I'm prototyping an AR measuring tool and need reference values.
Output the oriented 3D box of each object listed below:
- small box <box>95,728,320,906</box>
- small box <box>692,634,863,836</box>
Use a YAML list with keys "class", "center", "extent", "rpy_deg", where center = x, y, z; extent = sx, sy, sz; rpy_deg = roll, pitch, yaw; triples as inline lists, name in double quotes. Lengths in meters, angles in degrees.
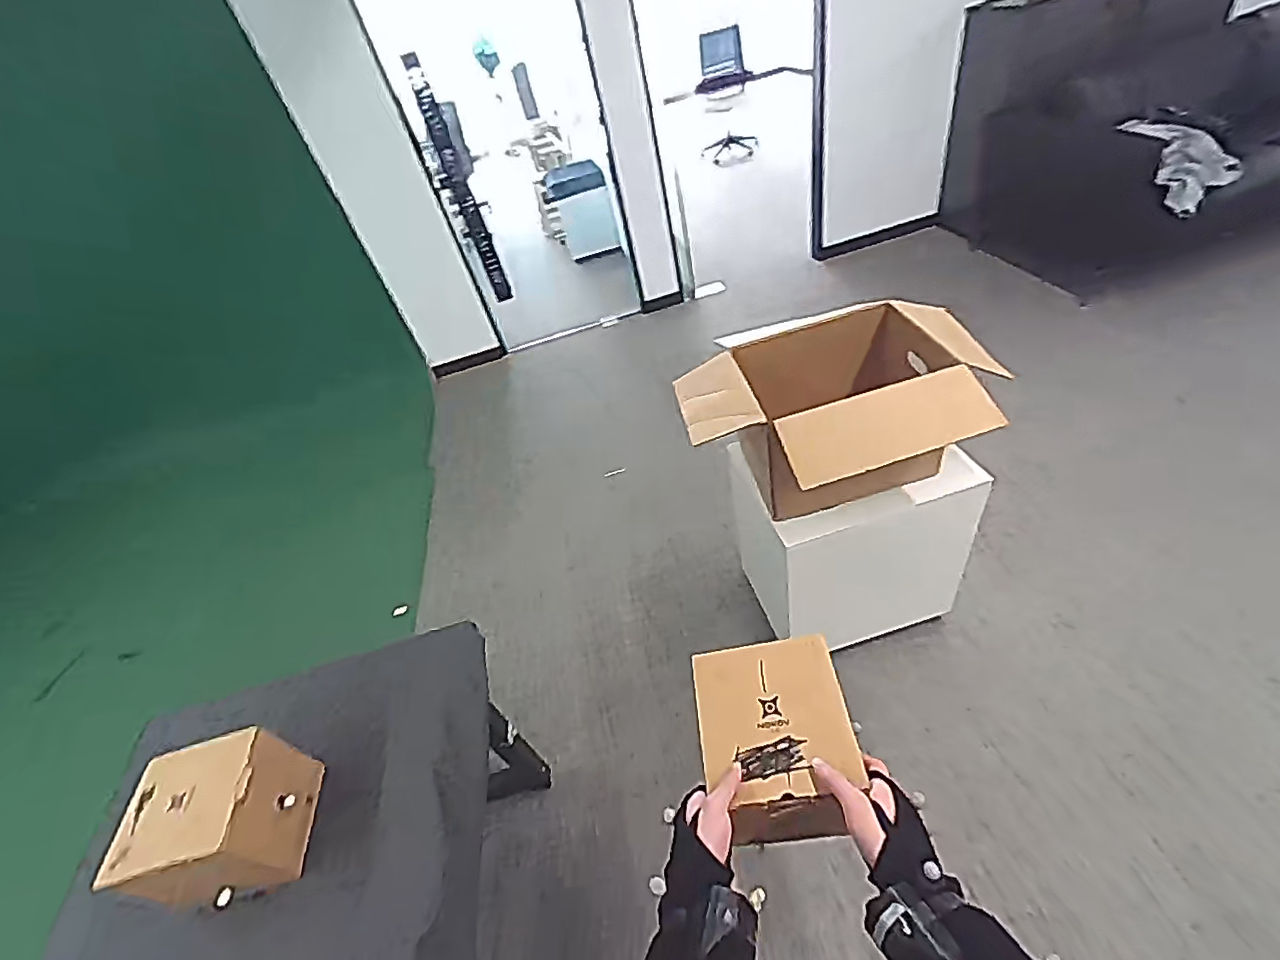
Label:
- class: "small box"
  center: [-0.623, 0.507, 0.813]
  extent: [0.179, 0.176, 0.168]
  rpy_deg: [-16, 42, -1]
- class: "small box"
  center: [0.167, 0.318, 0.663]
  extent: [0.168, 0.176, 0.179]
  rpy_deg: [-12, 43, 10]
